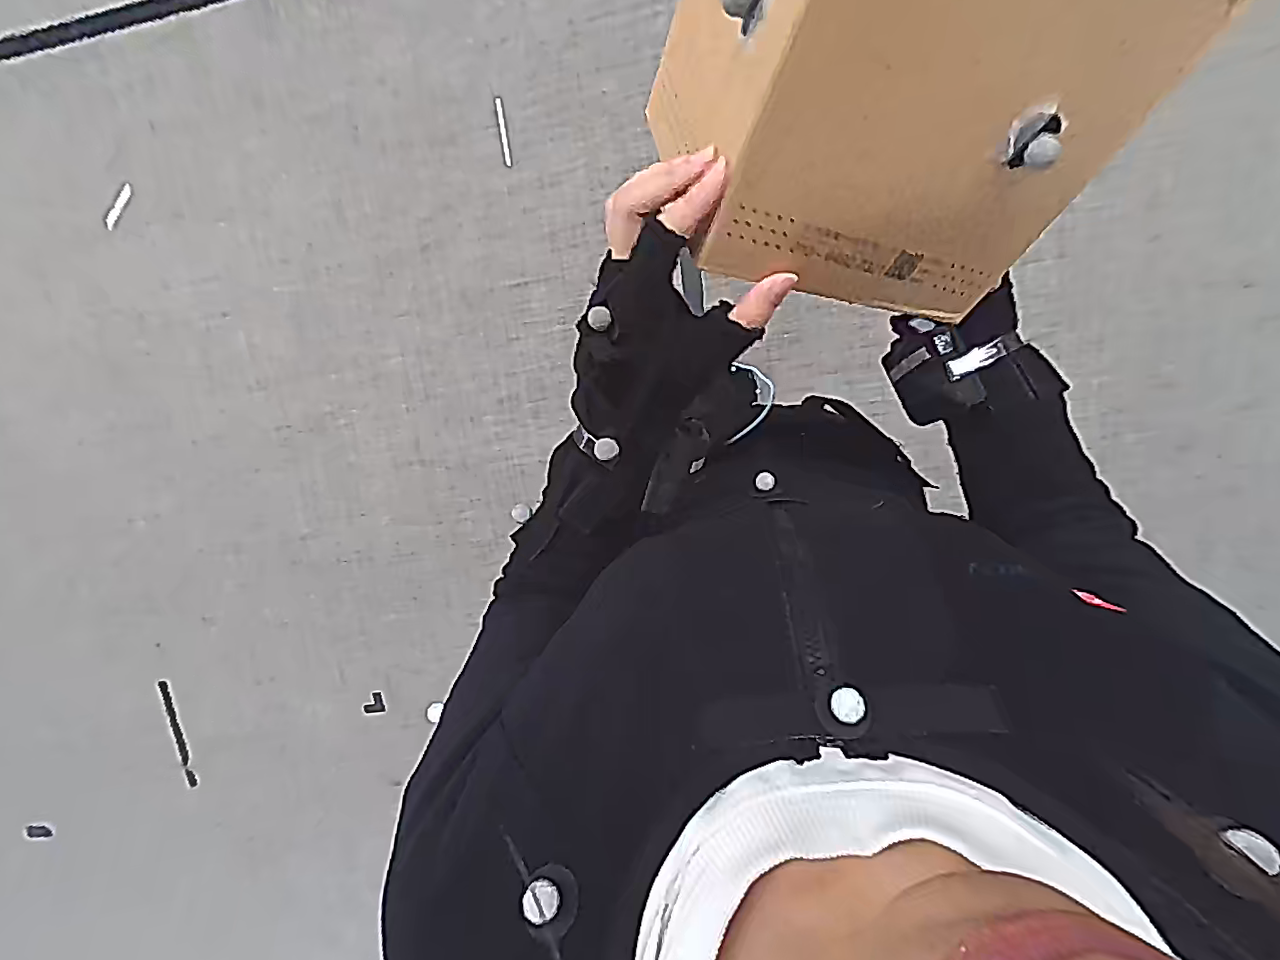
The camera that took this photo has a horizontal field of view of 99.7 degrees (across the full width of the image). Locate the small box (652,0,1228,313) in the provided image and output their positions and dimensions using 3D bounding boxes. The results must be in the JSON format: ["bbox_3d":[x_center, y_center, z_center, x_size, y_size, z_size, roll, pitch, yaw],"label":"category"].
[{"bbox_3d":[0.118,-0.216,0.287,0.168,0.179,0.176,5,143,-20],"label":"small box"}]
